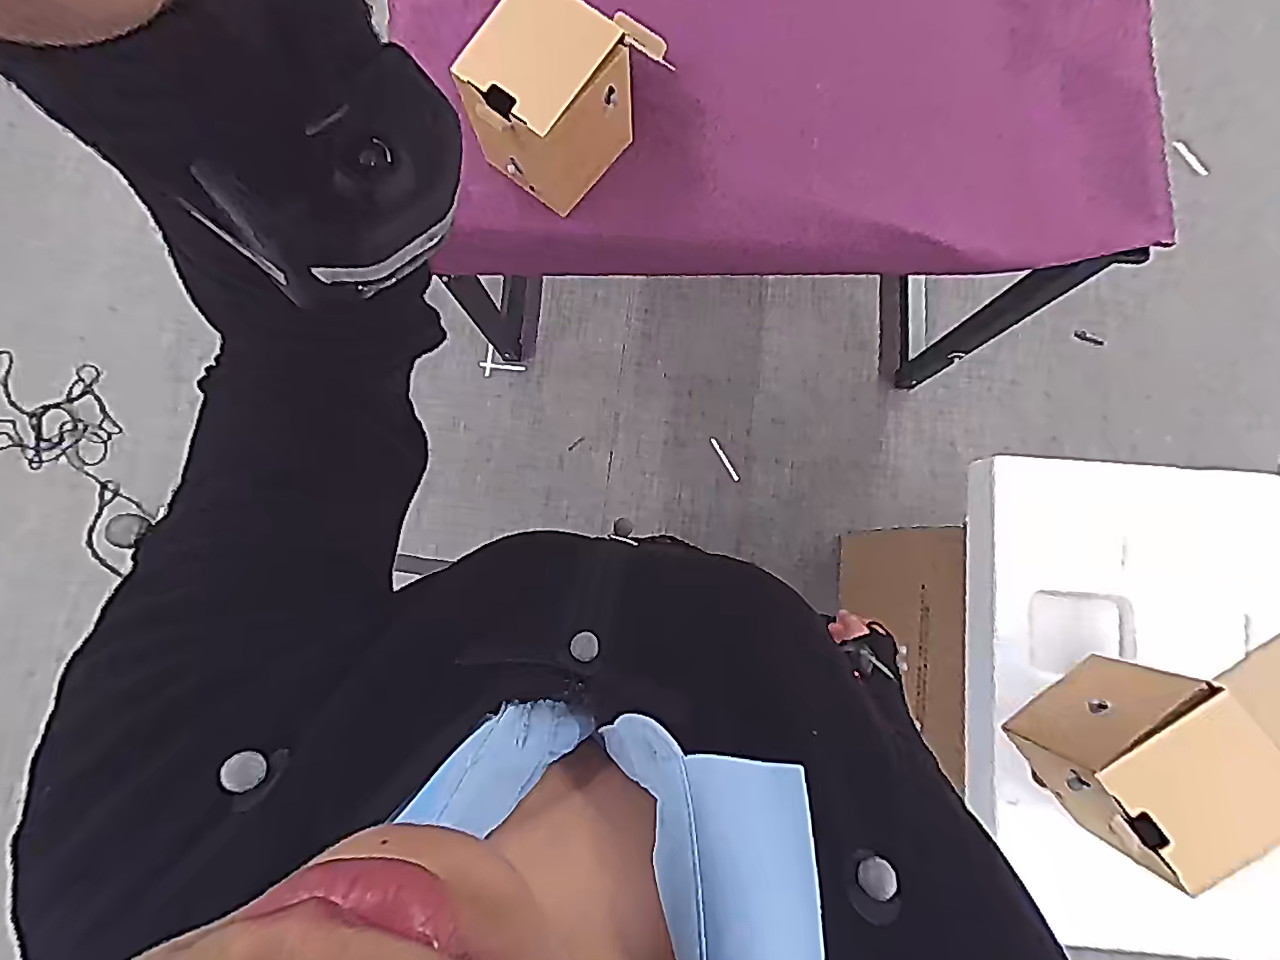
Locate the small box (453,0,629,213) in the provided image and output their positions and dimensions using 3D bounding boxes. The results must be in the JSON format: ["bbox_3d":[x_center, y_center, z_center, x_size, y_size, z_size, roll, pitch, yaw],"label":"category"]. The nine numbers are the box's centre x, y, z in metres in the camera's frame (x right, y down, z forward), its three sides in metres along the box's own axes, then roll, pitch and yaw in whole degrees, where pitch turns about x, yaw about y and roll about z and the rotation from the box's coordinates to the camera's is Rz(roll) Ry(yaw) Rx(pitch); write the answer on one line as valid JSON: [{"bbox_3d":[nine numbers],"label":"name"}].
[{"bbox_3d":[-0.131,-0.541,0.788,0.168,0.176,0.179,38,84,7],"label":"small box"}]
